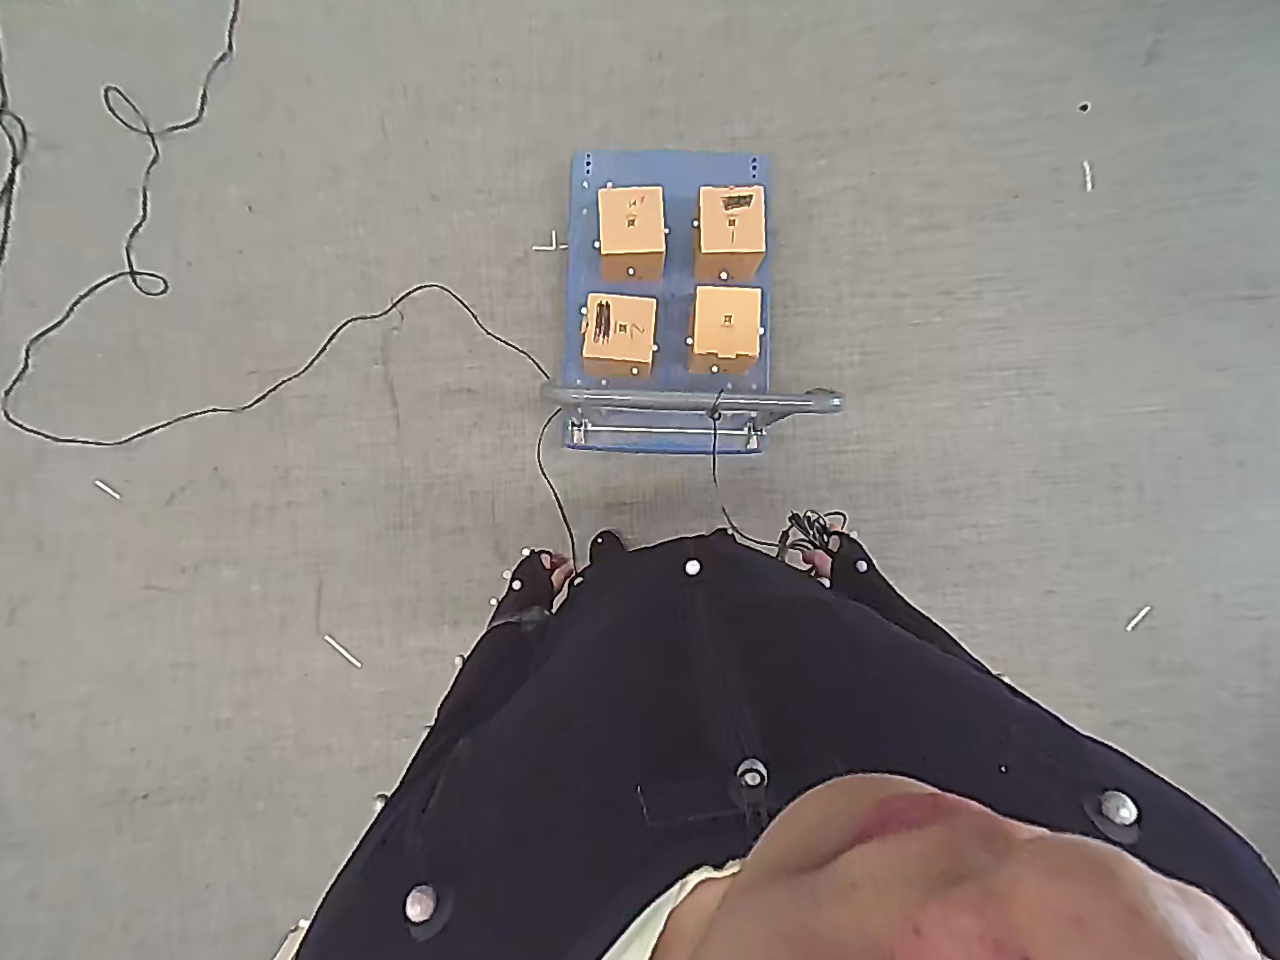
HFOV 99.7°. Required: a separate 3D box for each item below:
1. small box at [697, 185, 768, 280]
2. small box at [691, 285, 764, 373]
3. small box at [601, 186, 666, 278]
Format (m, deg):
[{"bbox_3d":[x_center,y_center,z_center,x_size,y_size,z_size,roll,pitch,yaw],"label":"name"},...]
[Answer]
[{"bbox_3d":[0.241,-0.656,1.445,0.168,0.176,0.179,0,87,1],"label":"small box"},{"bbox_3d":[0.226,-0.394,1.429,0.168,0.176,0.179,2,86,0],"label":"small box"},{"bbox_3d":[-0.016,-0.653,1.445,0.168,0.176,0.179,-2,86,-1],"label":"small box"}]
